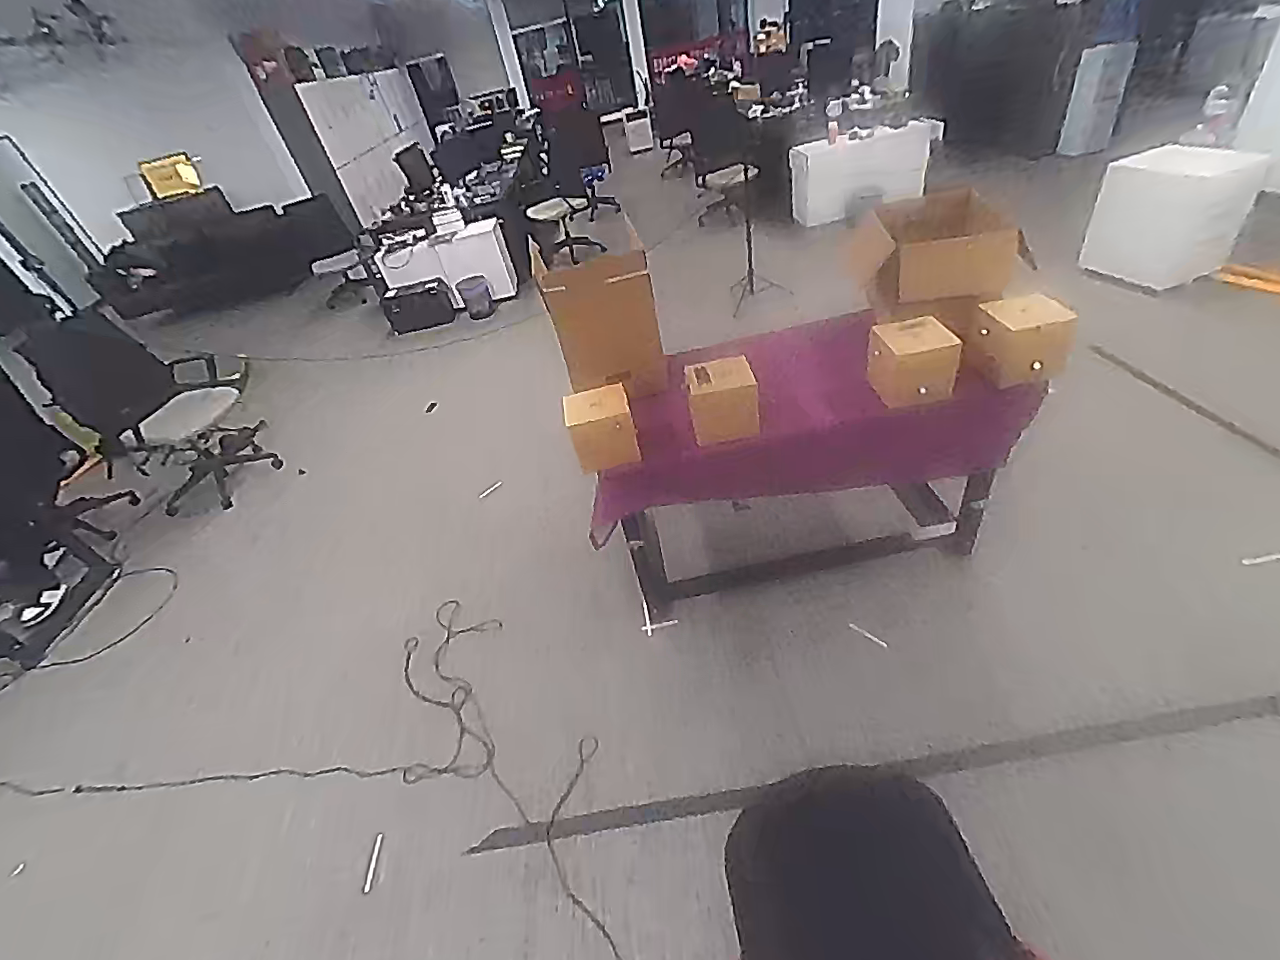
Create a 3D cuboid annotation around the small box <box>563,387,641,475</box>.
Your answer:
[{"bbox_3d":[-0.108,-0.134,1.520,0.179,0.176,0.168,-14,39,-1],"label":"small box"}]

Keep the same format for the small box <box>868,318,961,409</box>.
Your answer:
[{"bbox_3d":[0.737,-0.317,1.475,0.168,0.176,0.179,-11,39,5],"label":"small box"}]

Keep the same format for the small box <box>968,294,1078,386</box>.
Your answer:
[{"bbox_3d":[1.015,-0.374,1.453,0.168,0.176,0.179,-11,38,6],"label":"small box"}]
